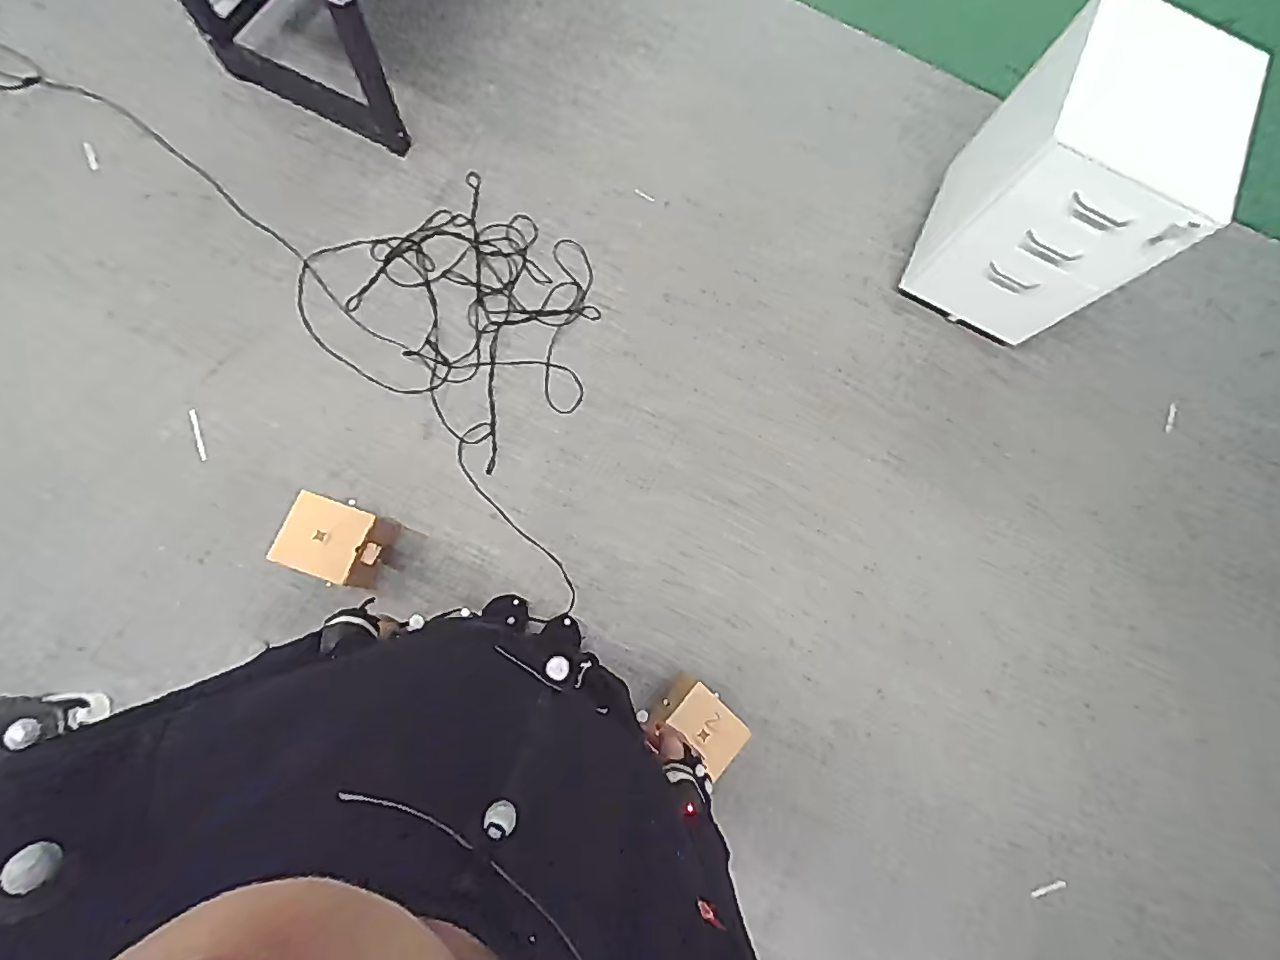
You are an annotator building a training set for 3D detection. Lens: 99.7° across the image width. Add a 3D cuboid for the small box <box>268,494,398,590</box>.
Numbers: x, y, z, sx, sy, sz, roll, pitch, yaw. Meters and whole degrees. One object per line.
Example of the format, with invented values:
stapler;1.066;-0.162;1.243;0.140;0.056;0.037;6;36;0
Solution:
small box;-0.698;0.152;1.252;0.179;0.176;0.168;20;75;-3
